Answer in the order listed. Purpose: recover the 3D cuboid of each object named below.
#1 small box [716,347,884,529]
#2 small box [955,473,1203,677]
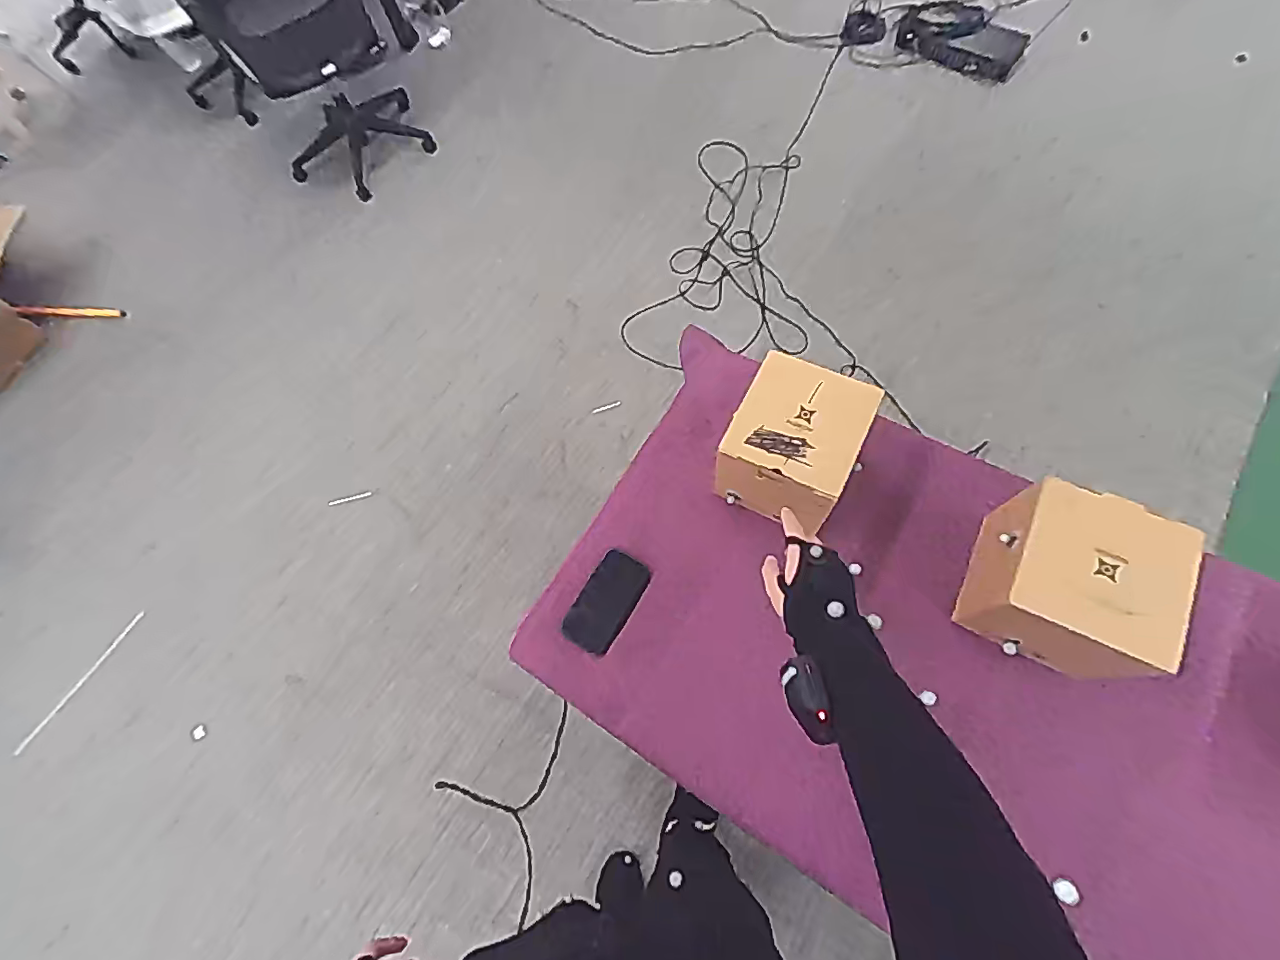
[{"bbox_3d":[0.221,-0.052,0.784,0.168,0.176,0.179,25,72,15],"label":"small box"},{"bbox_3d":[0.529,0.125,0.676,0.168,0.176,0.179,25,73,17],"label":"small box"}]
